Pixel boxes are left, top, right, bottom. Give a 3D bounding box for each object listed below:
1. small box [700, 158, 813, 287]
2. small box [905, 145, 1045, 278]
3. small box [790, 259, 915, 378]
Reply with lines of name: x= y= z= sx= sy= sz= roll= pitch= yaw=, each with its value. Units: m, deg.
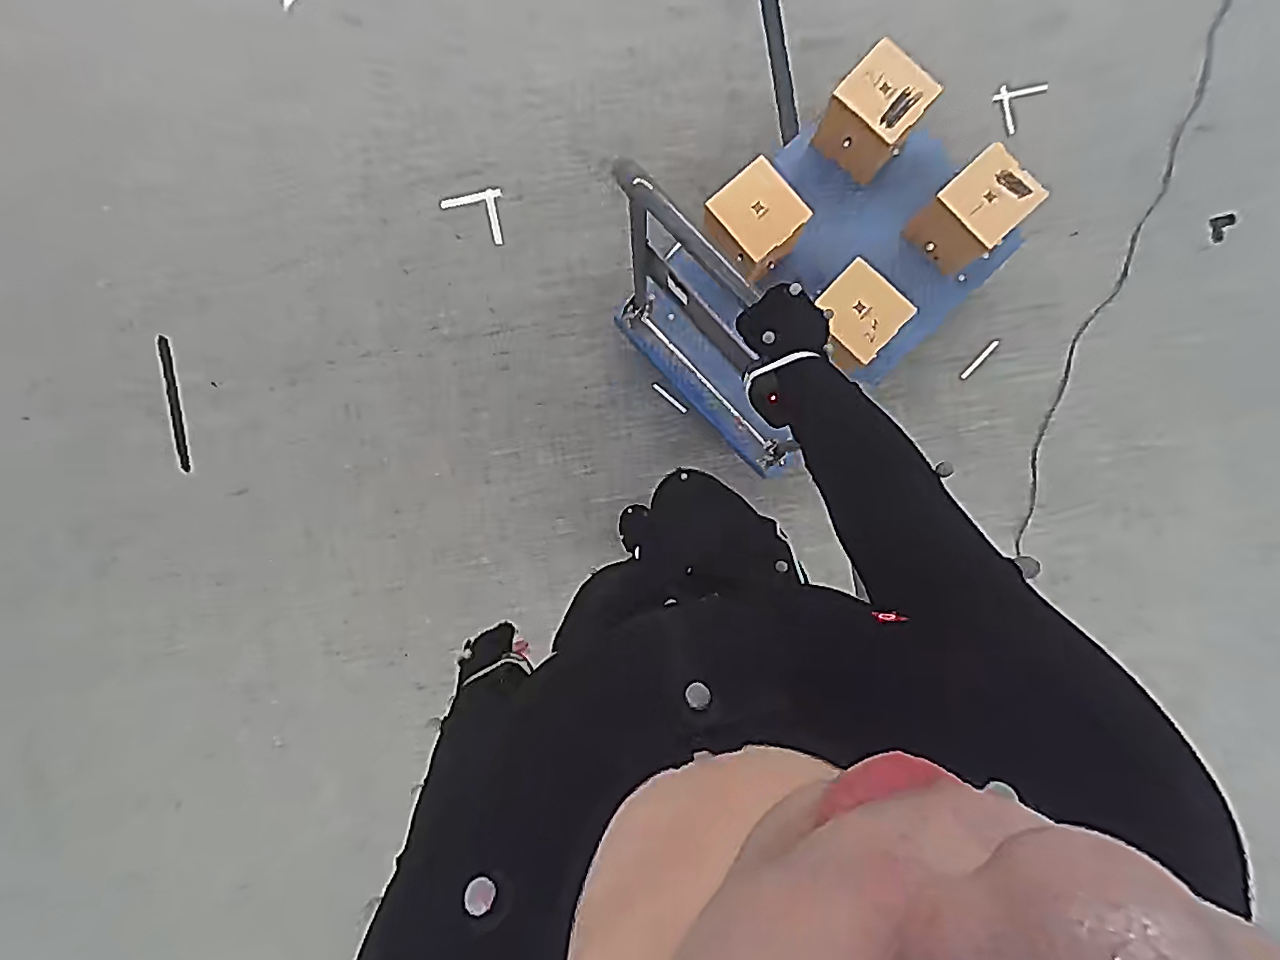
small box: x=0.257 y=-0.582 z=1.248 sx=0.168 sy=0.176 sz=0.179 roll=-41 pitch=90 yaw=0
small box: x=0.753 y=-0.604 z=1.238 sx=0.179 sy=0.176 sz=0.168 roll=-43 pitch=88 yaw=1
small box: x=0.474 y=-0.359 z=1.238 sx=0.179 sy=0.176 sz=0.168 roll=44 pitch=90 yaw=2
